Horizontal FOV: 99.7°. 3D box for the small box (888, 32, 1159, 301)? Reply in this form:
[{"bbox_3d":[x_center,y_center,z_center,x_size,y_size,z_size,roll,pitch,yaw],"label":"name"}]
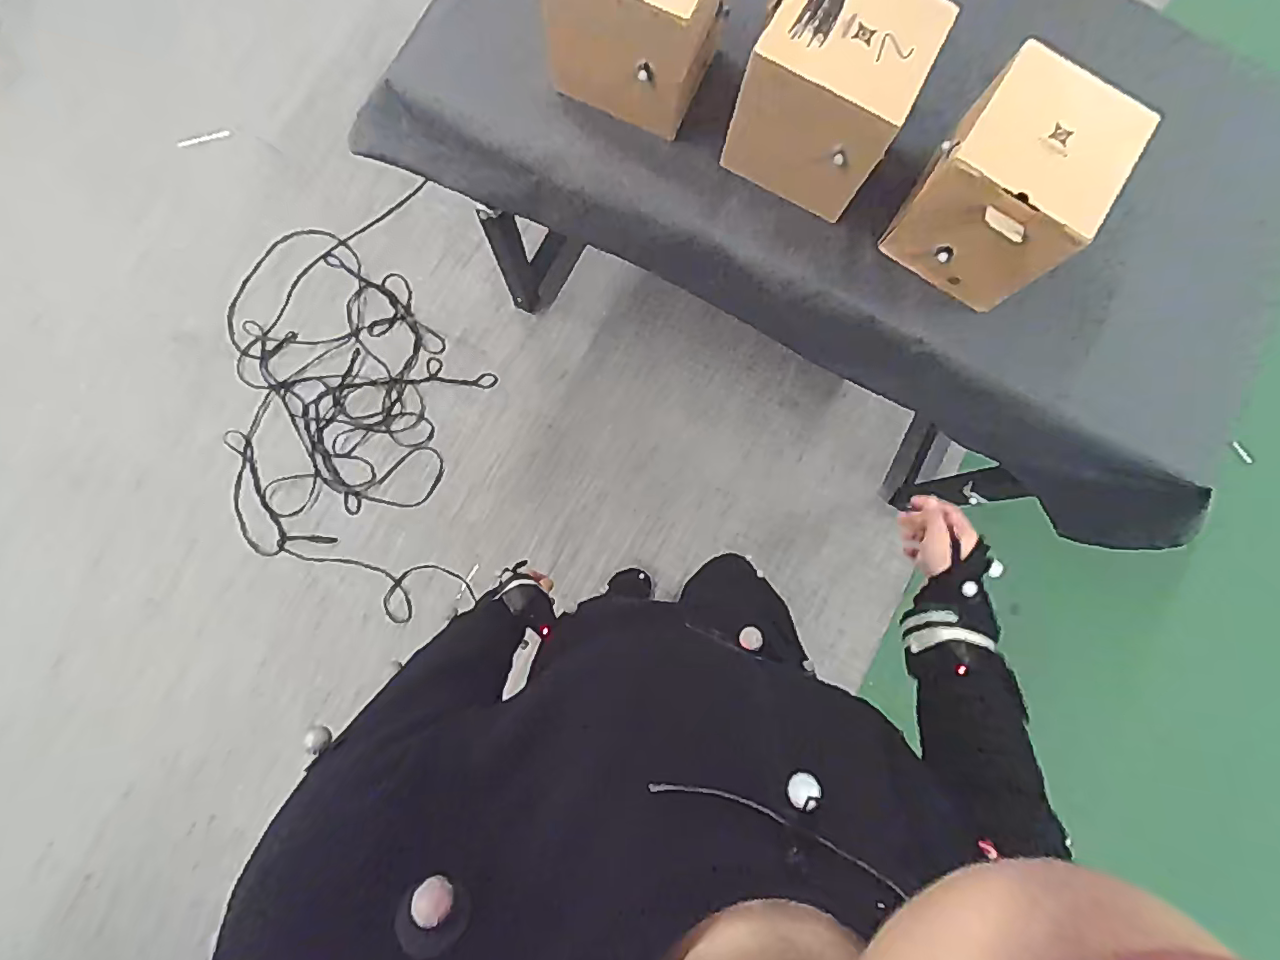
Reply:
[{"bbox_3d":[0.432,-0.353,0.640,0.168,0.176,0.179,32,83,1],"label":"small box"}]

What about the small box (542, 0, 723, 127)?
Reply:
[{"bbox_3d":[-0.001,-0.570,0.645,0.179,0.176,0.168,23,81,1],"label":"small box"}]
